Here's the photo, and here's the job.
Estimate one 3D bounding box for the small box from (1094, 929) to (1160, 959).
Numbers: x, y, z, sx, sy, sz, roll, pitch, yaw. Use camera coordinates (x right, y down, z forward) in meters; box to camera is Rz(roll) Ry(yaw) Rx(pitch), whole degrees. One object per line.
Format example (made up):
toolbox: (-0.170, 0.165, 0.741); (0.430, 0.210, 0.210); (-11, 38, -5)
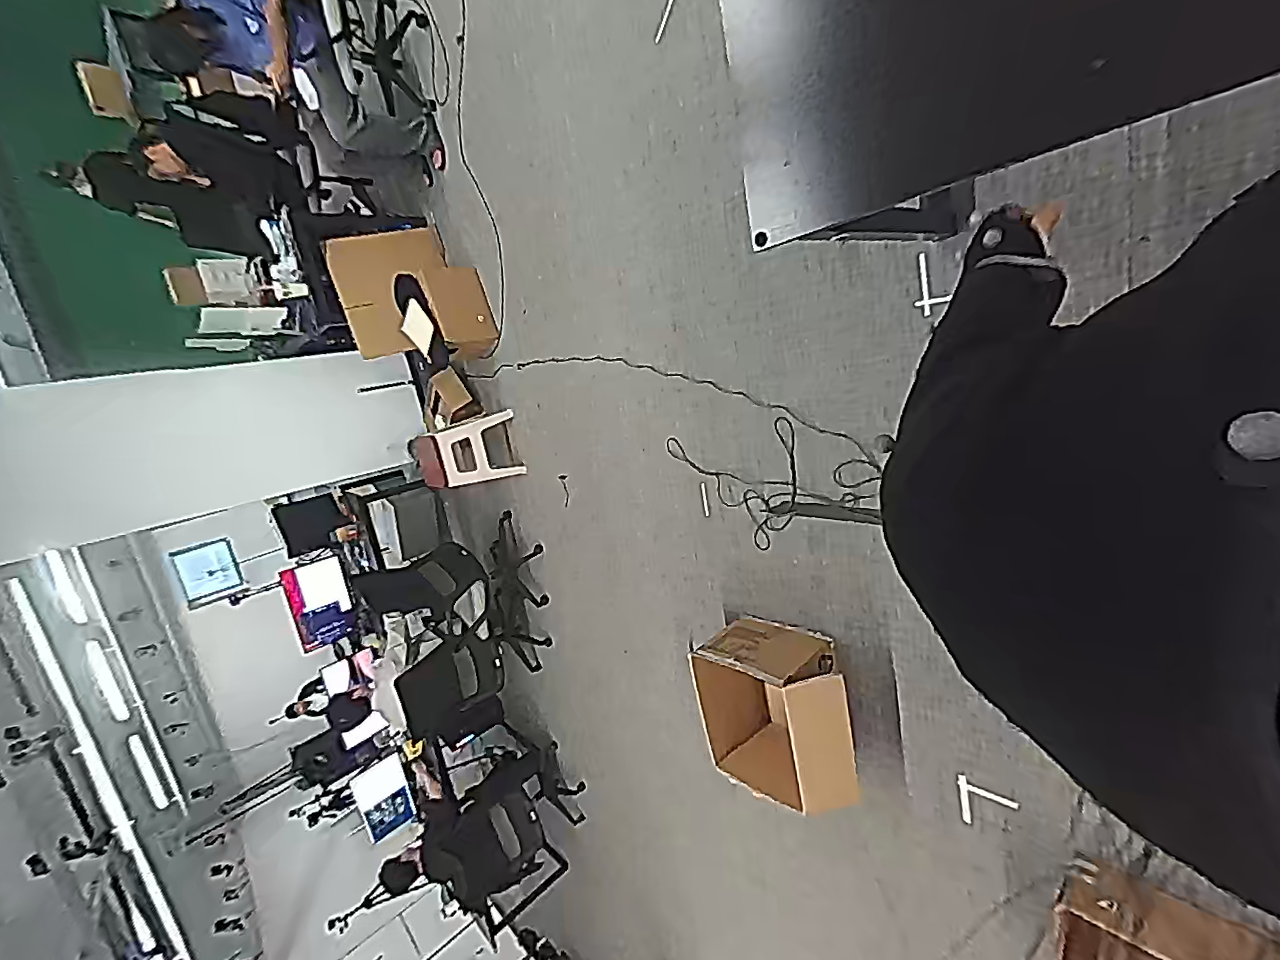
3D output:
small box: (1.233, 1.292, 1.348); (0.168, 0.176, 0.179); (9, 111, 46)
